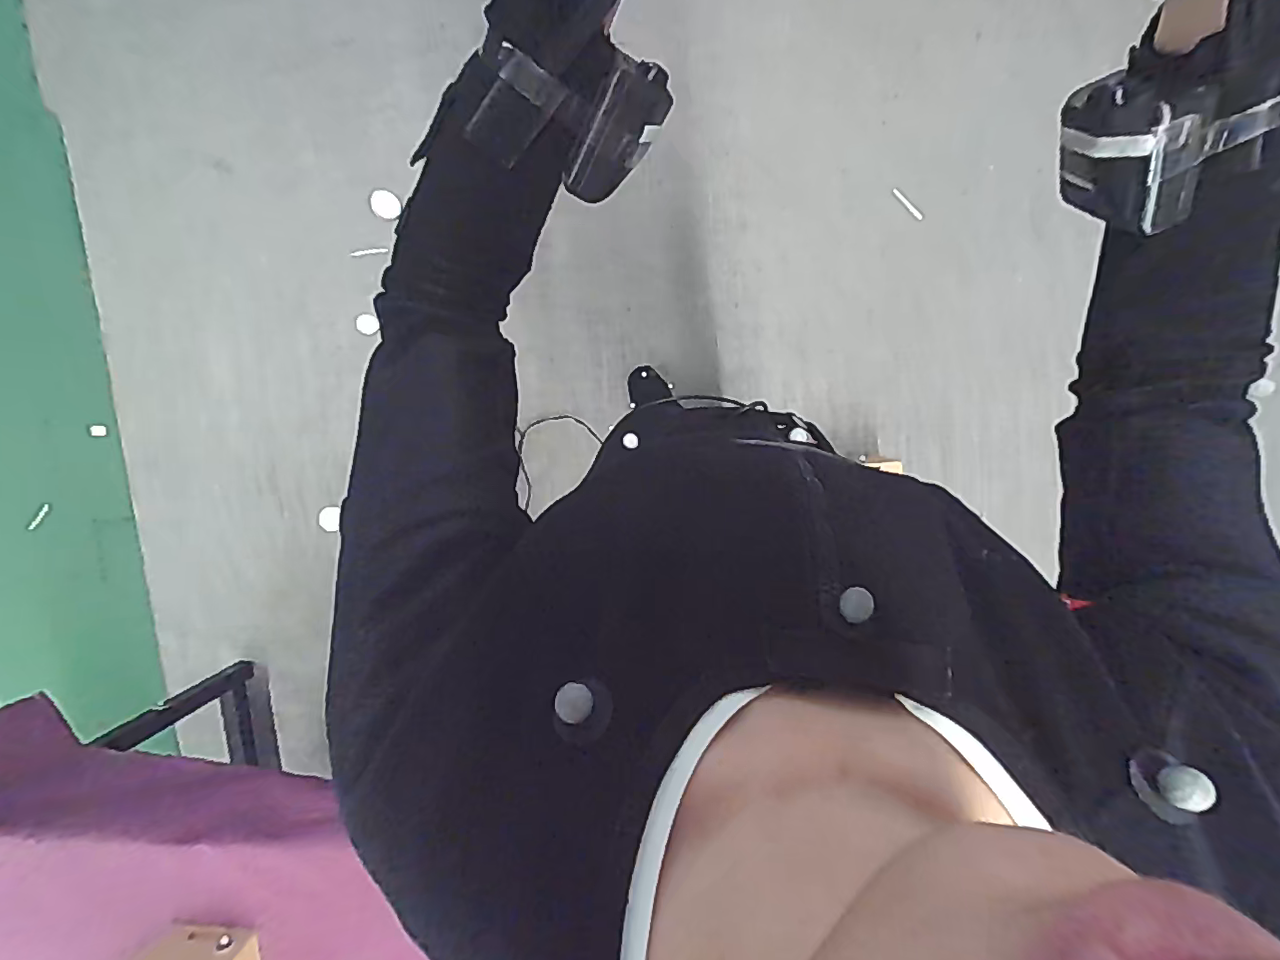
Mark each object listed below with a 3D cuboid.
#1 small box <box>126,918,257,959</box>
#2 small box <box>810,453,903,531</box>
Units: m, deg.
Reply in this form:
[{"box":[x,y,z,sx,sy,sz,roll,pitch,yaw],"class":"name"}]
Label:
[{"box":[-0.738,0.840,0.850,0.168,0.176,0.179,-1,97,6],"class":"small box"},{"box":[0.534,0.025,1.348,0.179,0.176,0.168,-4,96,6],"class":"small box"}]
